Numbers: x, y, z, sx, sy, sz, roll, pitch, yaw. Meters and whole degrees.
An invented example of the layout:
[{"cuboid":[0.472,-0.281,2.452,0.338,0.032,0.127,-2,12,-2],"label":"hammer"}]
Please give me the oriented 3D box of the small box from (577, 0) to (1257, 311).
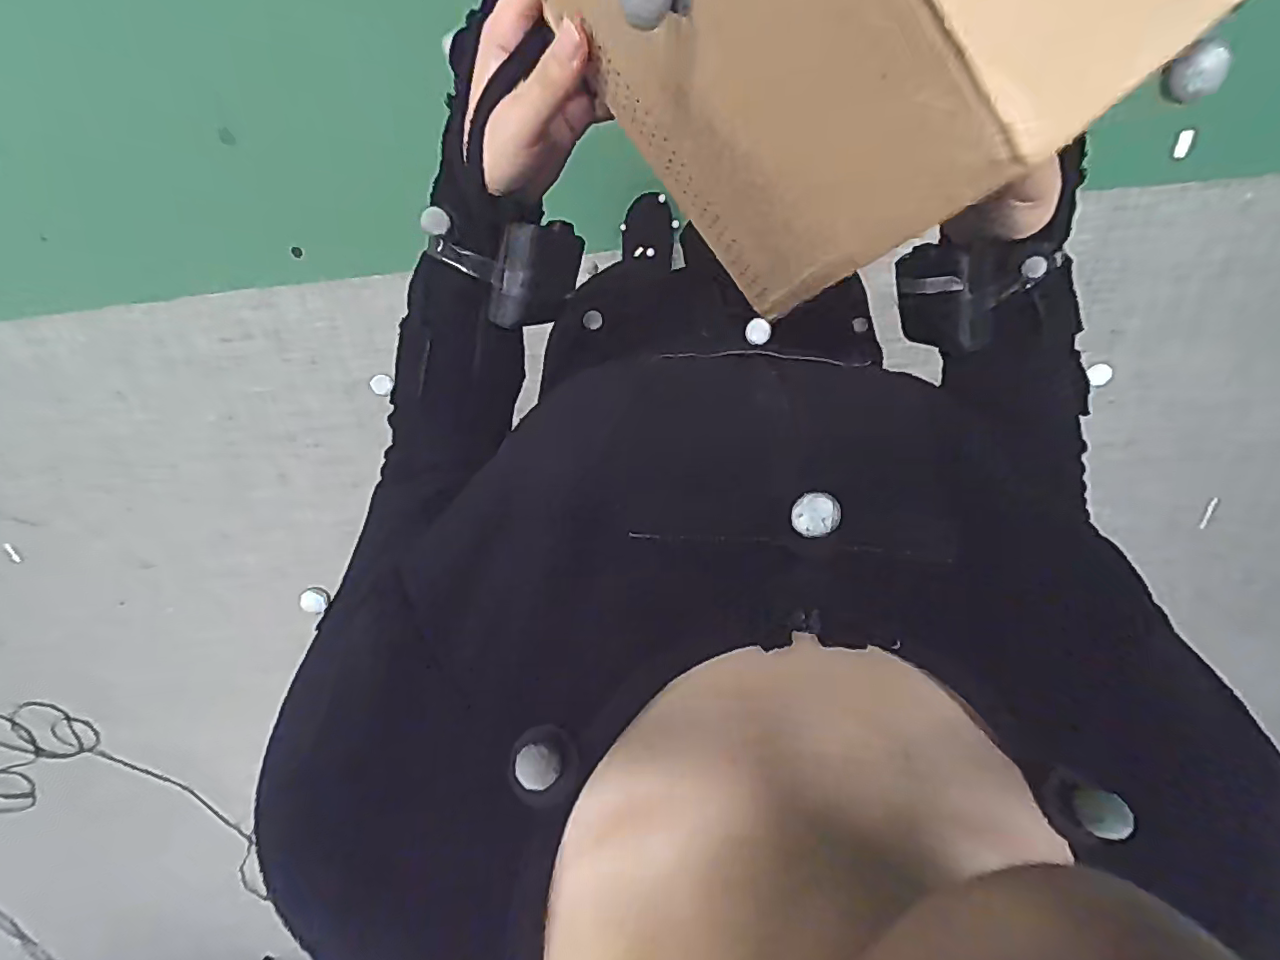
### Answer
[{"cuboid":[0.086,-0.186,0.183,0.168,0.176,0.179,-40,97,1],"label":"small box"}]
